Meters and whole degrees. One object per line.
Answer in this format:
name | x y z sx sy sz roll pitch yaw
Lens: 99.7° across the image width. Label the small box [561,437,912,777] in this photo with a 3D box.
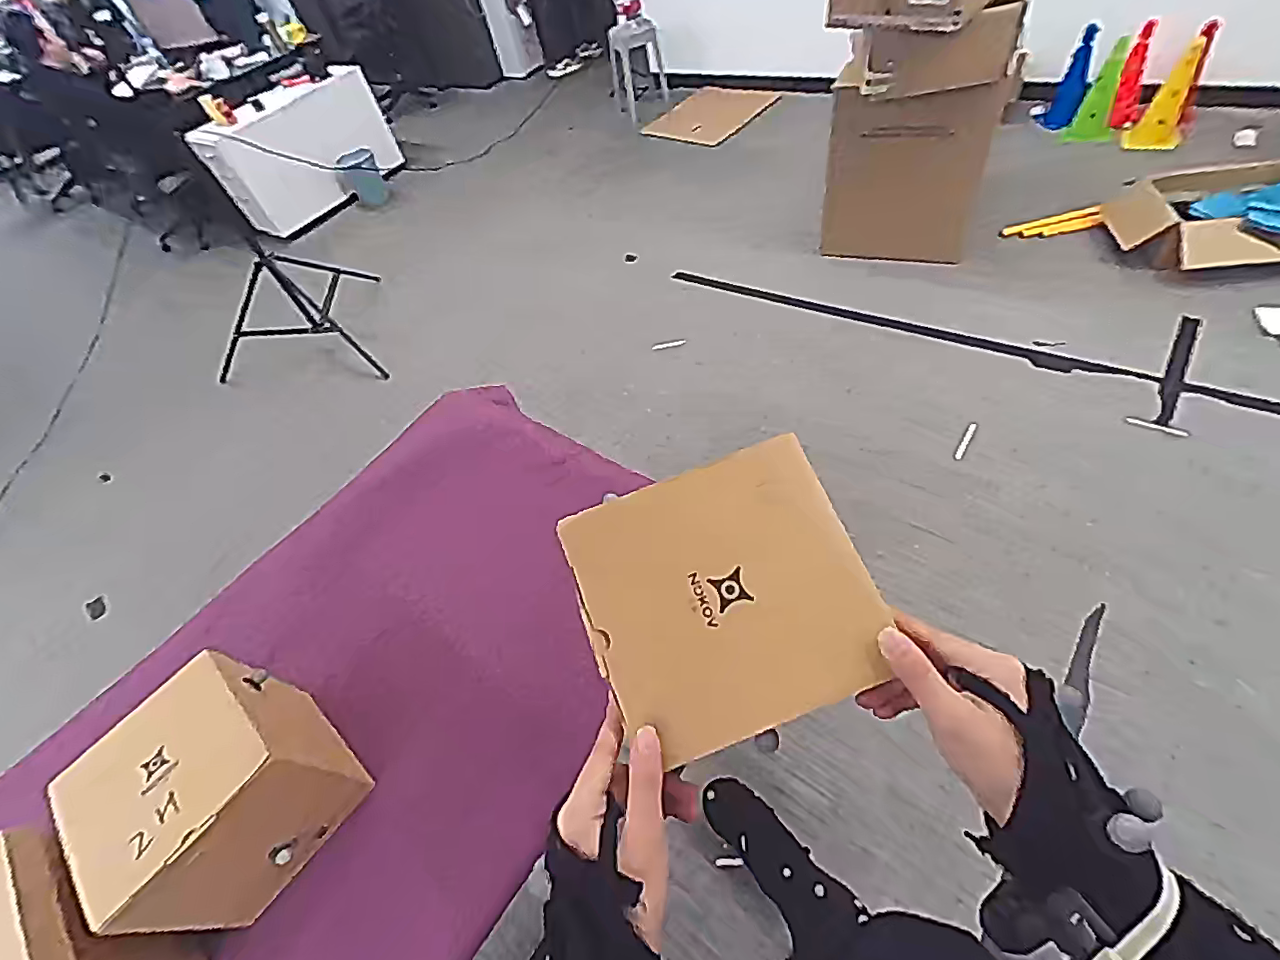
small box | 0.061 0.095 0.415 0.179 0.176 0.168 -22 71 0
